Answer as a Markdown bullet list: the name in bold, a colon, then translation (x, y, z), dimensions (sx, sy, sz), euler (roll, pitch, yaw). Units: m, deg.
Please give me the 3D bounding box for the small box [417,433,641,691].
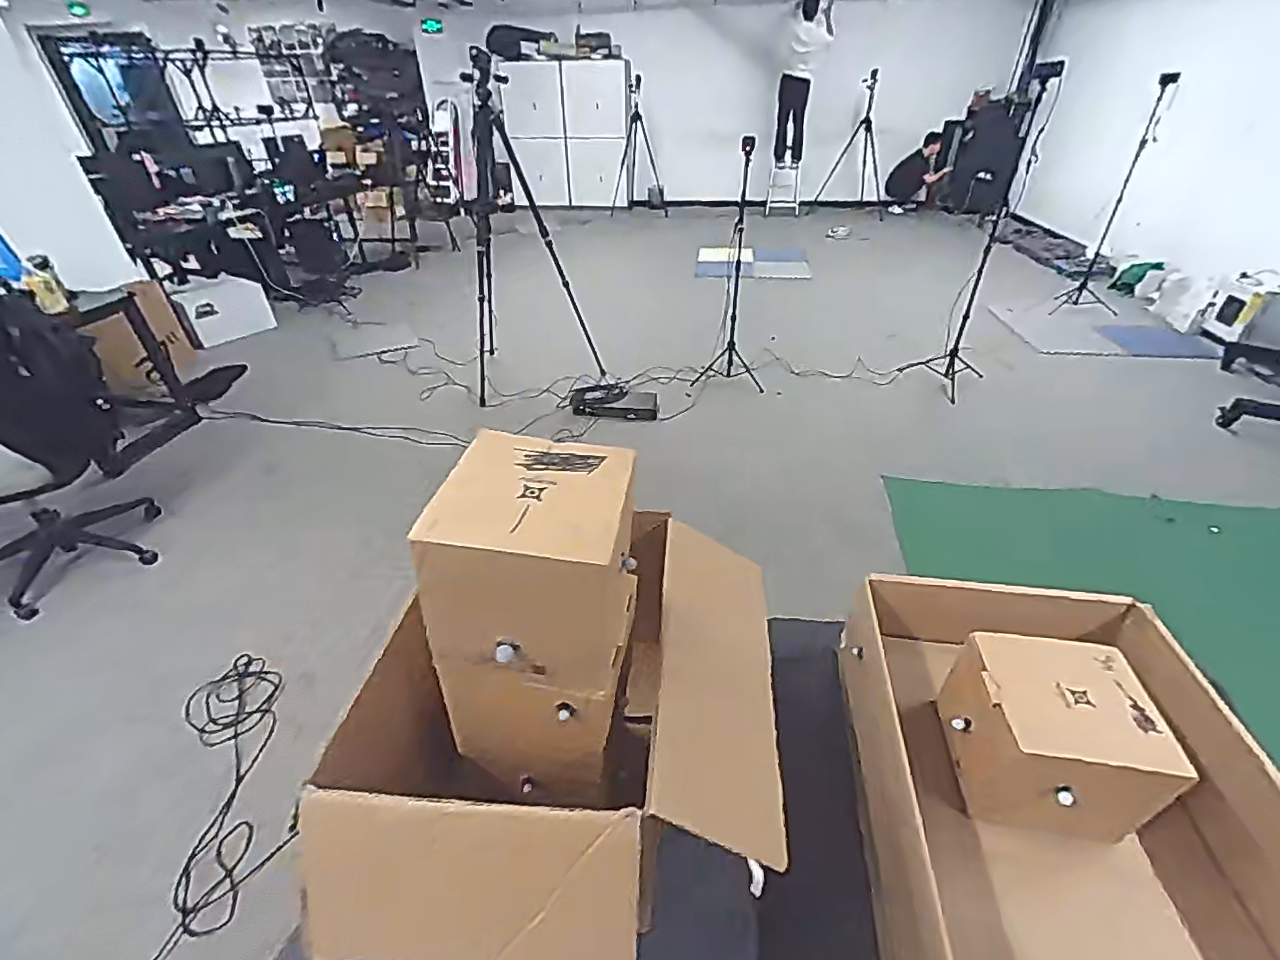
- **small box**: translation (-0.096, 0.076, 0.538), dimensions (0.168, 0.176, 0.179), euler (7, 35, 3)
